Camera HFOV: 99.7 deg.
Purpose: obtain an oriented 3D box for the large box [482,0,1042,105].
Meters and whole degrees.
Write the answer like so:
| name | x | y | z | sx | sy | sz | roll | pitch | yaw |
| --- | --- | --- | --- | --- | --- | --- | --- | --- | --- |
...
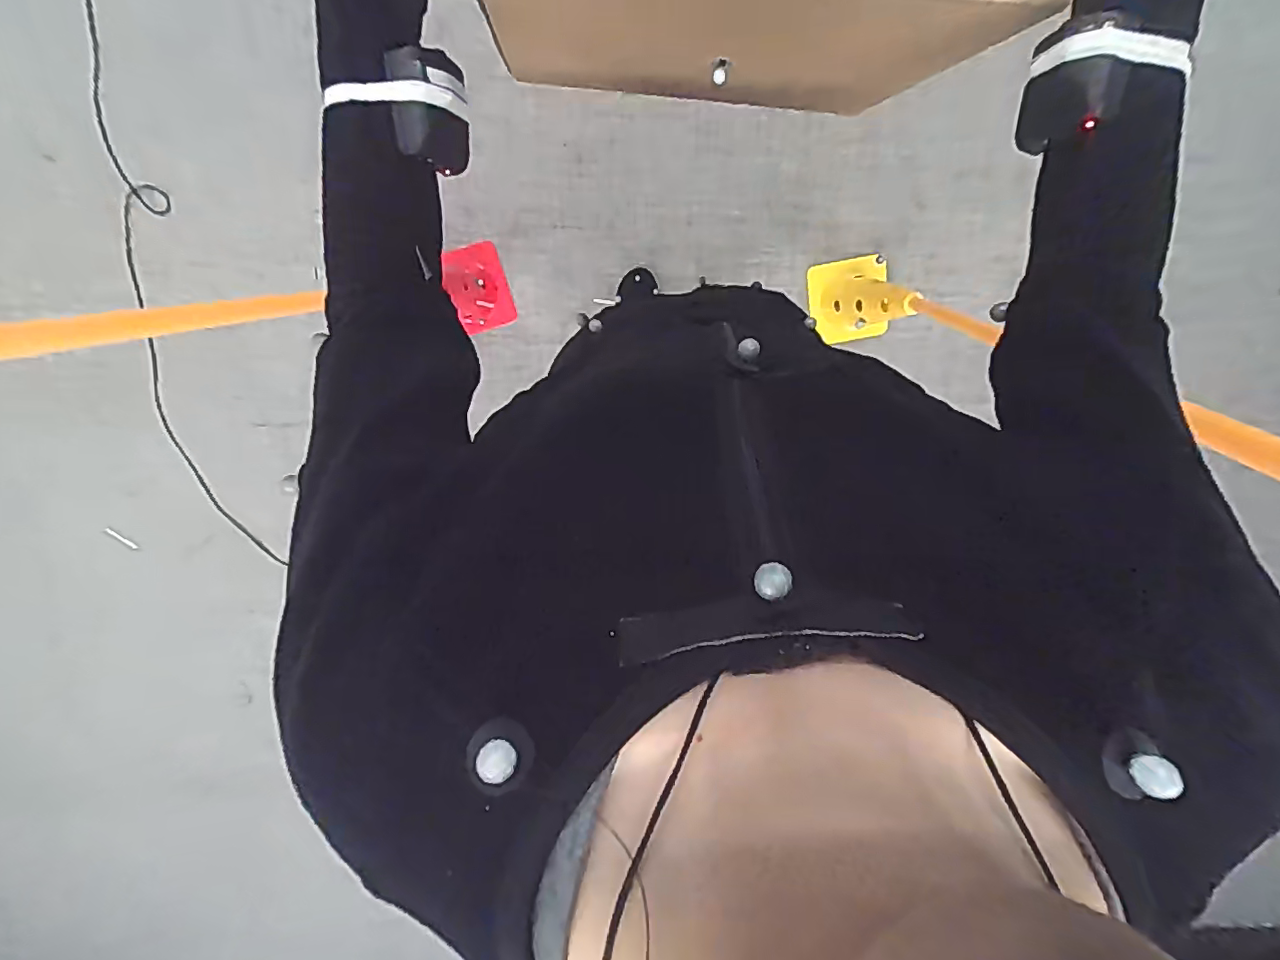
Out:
| name | x | y | z | sx | sy | sz | roll | pitch | yaw |
| --- | --- | --- | --- | --- | --- | --- | --- | --- | --- |
| large box | 0.080 | -0.525 | 0.437 | 0.408 | 0.320 | 0.320 | 1 | 113 | -6 |
